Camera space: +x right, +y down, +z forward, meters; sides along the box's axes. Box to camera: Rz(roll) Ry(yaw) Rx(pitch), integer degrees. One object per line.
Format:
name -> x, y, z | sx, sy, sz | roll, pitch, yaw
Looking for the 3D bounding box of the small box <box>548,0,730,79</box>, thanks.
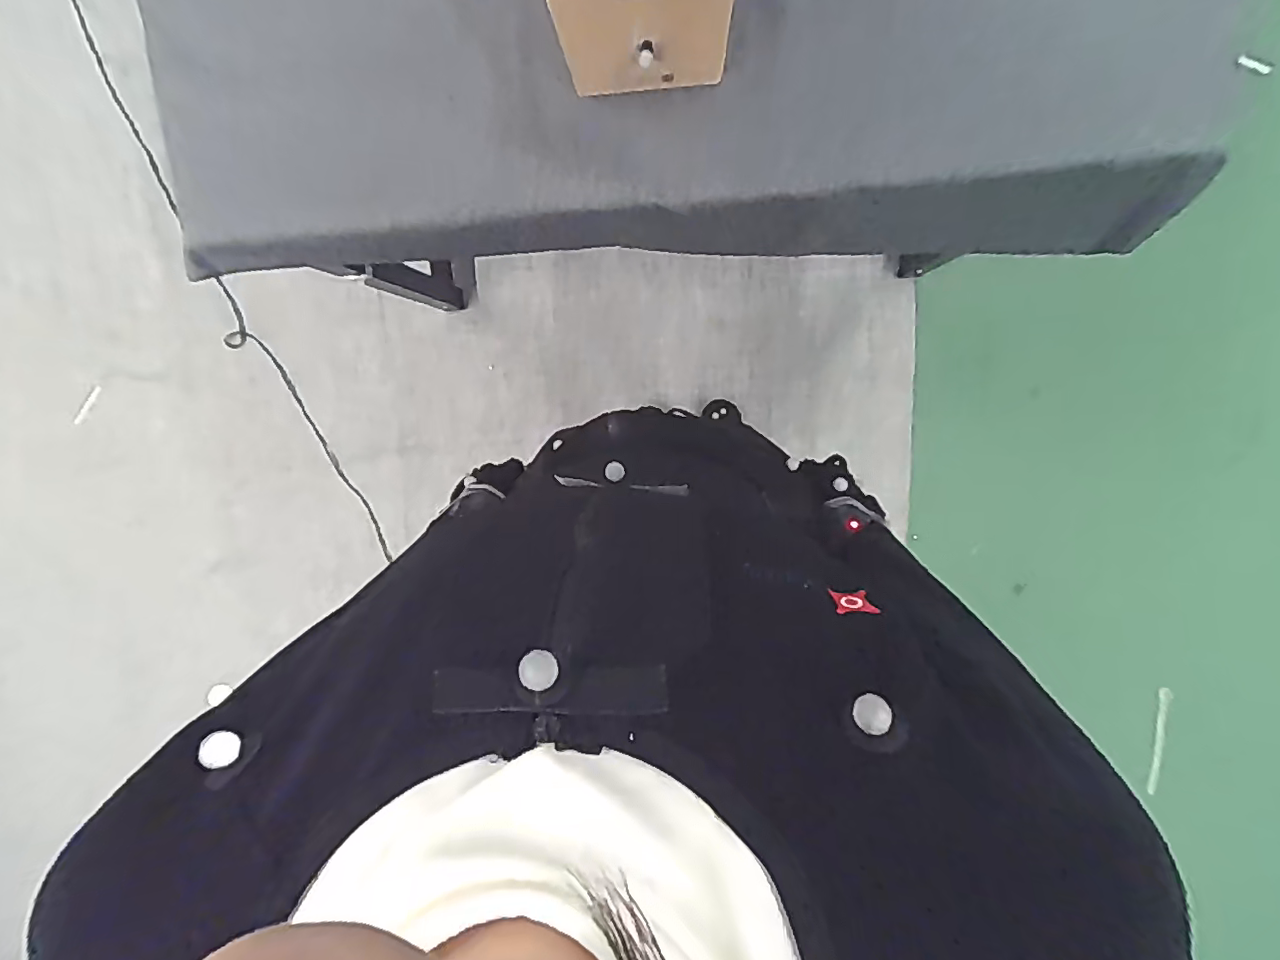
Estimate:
small box -> 0.001, -0.520, 0.517 | 0.168, 0.176, 0.179 | -3, 100, 6
